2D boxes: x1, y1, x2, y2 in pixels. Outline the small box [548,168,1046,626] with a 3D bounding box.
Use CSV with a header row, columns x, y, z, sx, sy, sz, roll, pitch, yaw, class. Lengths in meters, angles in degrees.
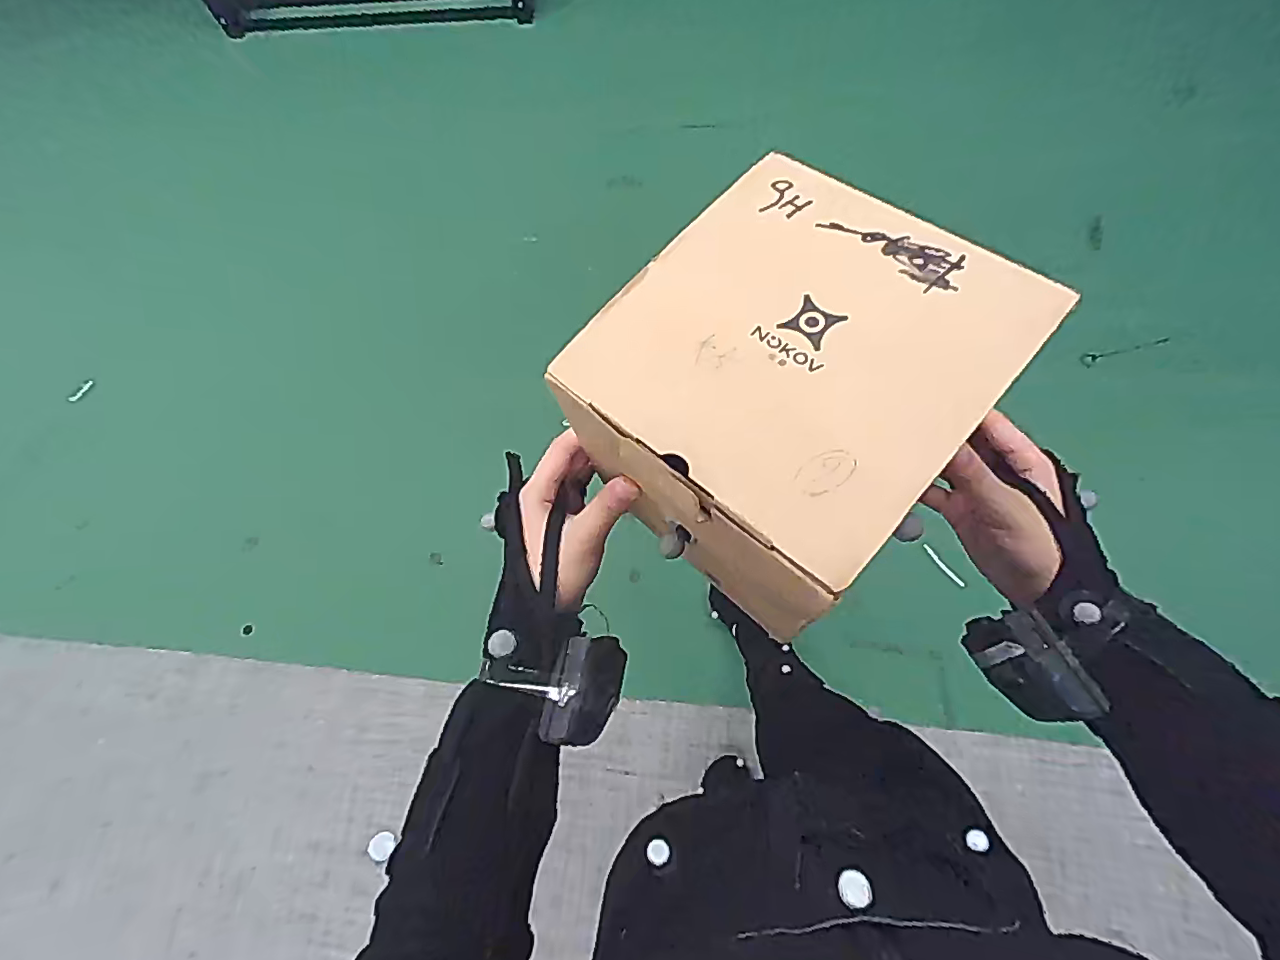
x,y,z,sx,sy,sz,roll,pitch,yaw,class
0.080,-0.034,0.328,0.168,0.176,0.179,39,79,21,small box
